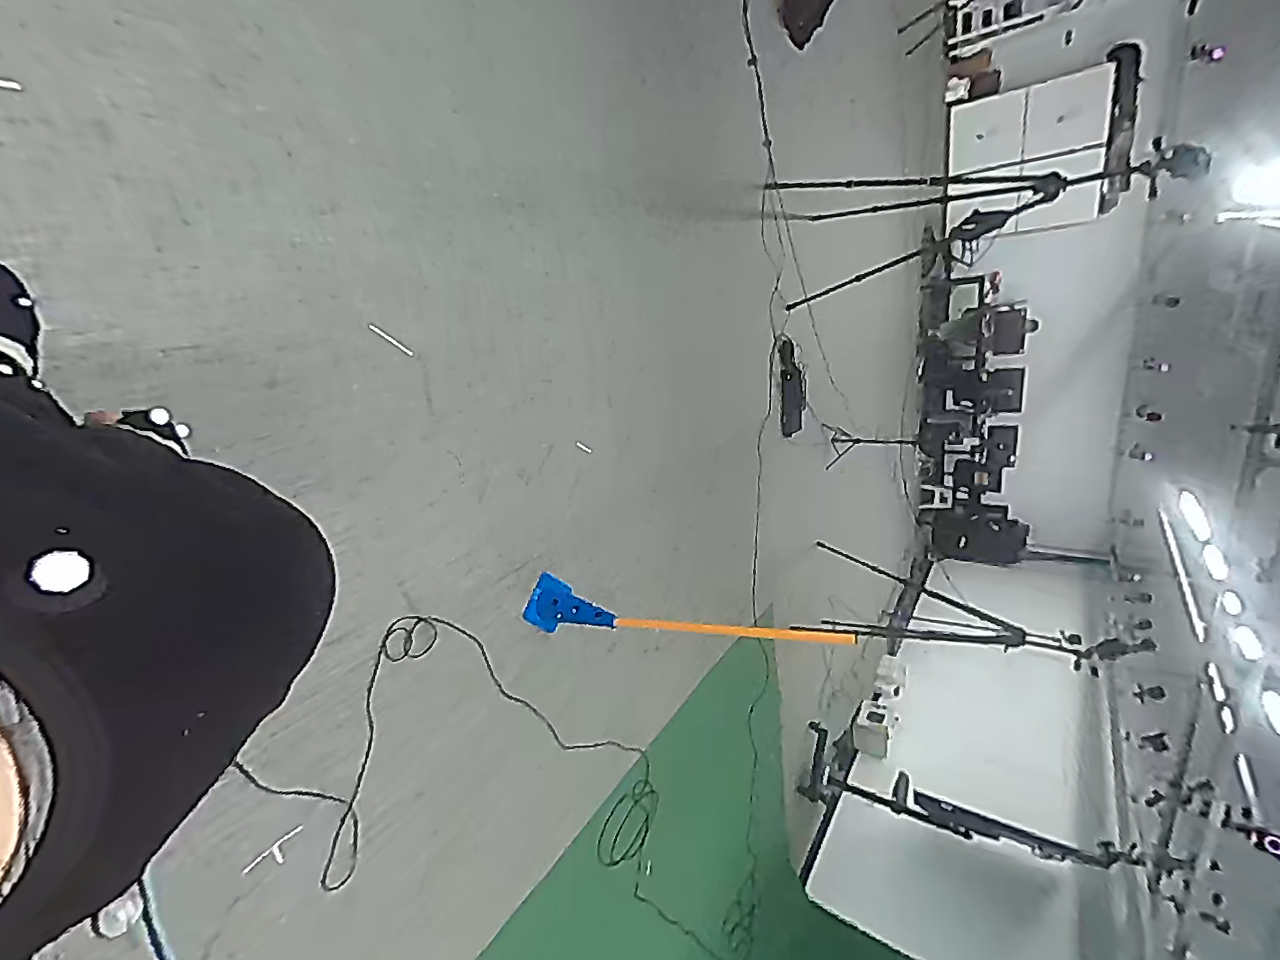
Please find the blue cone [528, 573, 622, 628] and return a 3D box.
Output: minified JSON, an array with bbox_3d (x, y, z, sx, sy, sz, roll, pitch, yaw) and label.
[{"bbox_3d":[-0.231,0.488,2.060,0.192,0.380,0.193,44,58,-46],"label":"blue cone"}]
